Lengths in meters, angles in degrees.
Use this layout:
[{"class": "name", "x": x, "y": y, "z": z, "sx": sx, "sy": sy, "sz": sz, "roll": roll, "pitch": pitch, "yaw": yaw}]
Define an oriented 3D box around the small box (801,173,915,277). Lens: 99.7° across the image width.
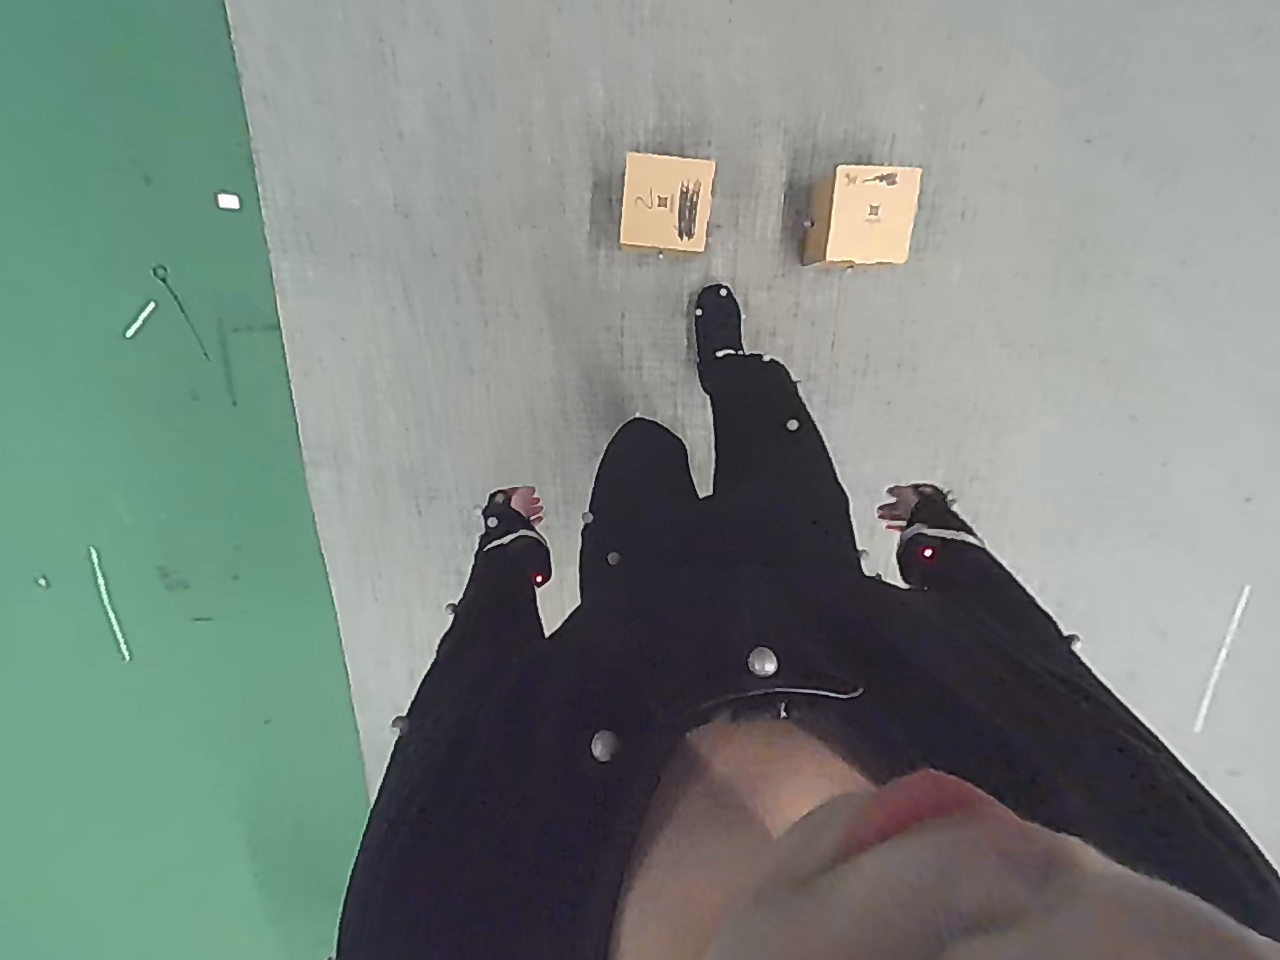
[{"class": "small box", "x": 0.449, "y": -0.530, "z": 1.146, "sx": 0.168, "sy": 0.176, "sz": 0.179, "roll": 3, "pitch": 107, "yaw": 0}]
